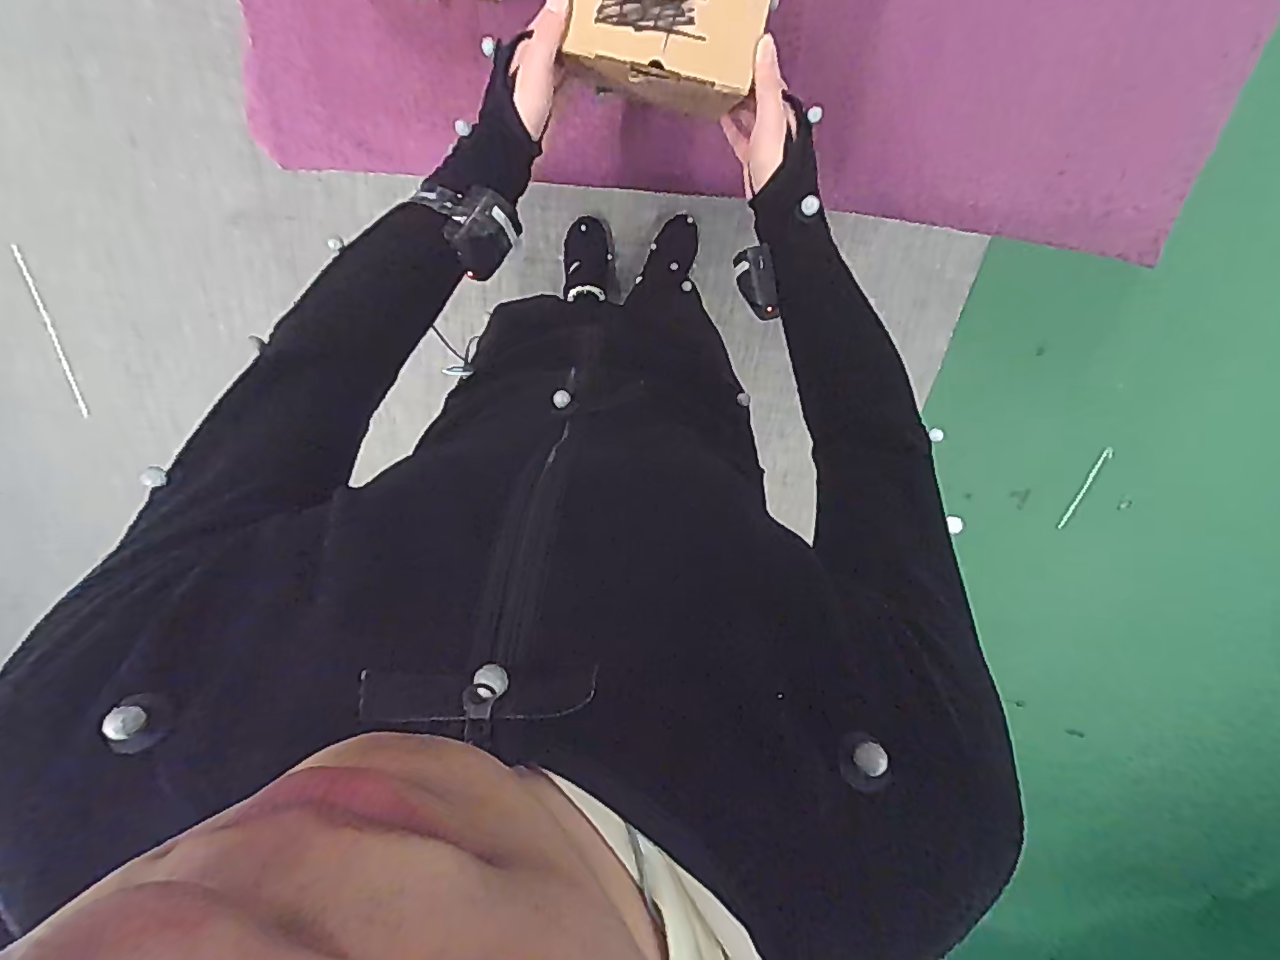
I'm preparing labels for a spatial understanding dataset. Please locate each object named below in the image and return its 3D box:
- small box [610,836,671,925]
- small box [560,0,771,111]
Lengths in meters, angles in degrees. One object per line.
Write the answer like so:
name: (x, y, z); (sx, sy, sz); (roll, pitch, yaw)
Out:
small box: (-0.002, 1.256, 1.697); (0.168, 0.176, 0.179); (6, 119, -6)
small box: (0.028, -0.453, 0.480); (0.168, 0.176, 0.179); (8, 117, -7)
